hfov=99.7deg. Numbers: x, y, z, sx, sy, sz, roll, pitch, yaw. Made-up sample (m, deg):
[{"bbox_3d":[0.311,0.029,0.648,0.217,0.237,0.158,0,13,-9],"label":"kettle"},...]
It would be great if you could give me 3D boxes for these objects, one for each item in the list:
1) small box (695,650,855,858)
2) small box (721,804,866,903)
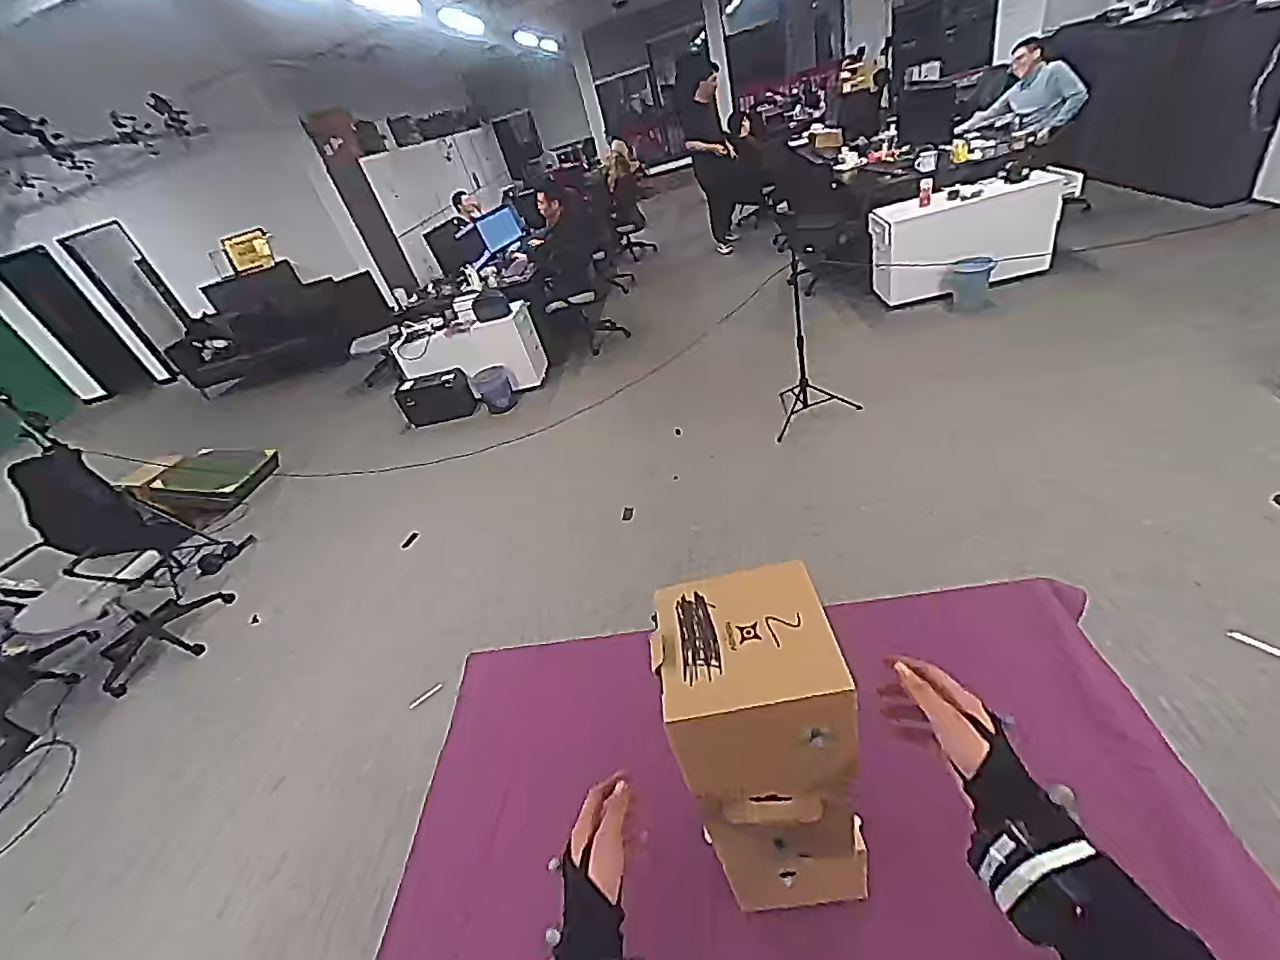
[{"bbox_3d":[0.165,0.342,0.680,0.168,0.176,0.179,-10,36,13],"label":"small box"},{"bbox_3d":[0.208,0.473,0.770,0.179,0.176,0.168,-12,35,7],"label":"small box"}]
